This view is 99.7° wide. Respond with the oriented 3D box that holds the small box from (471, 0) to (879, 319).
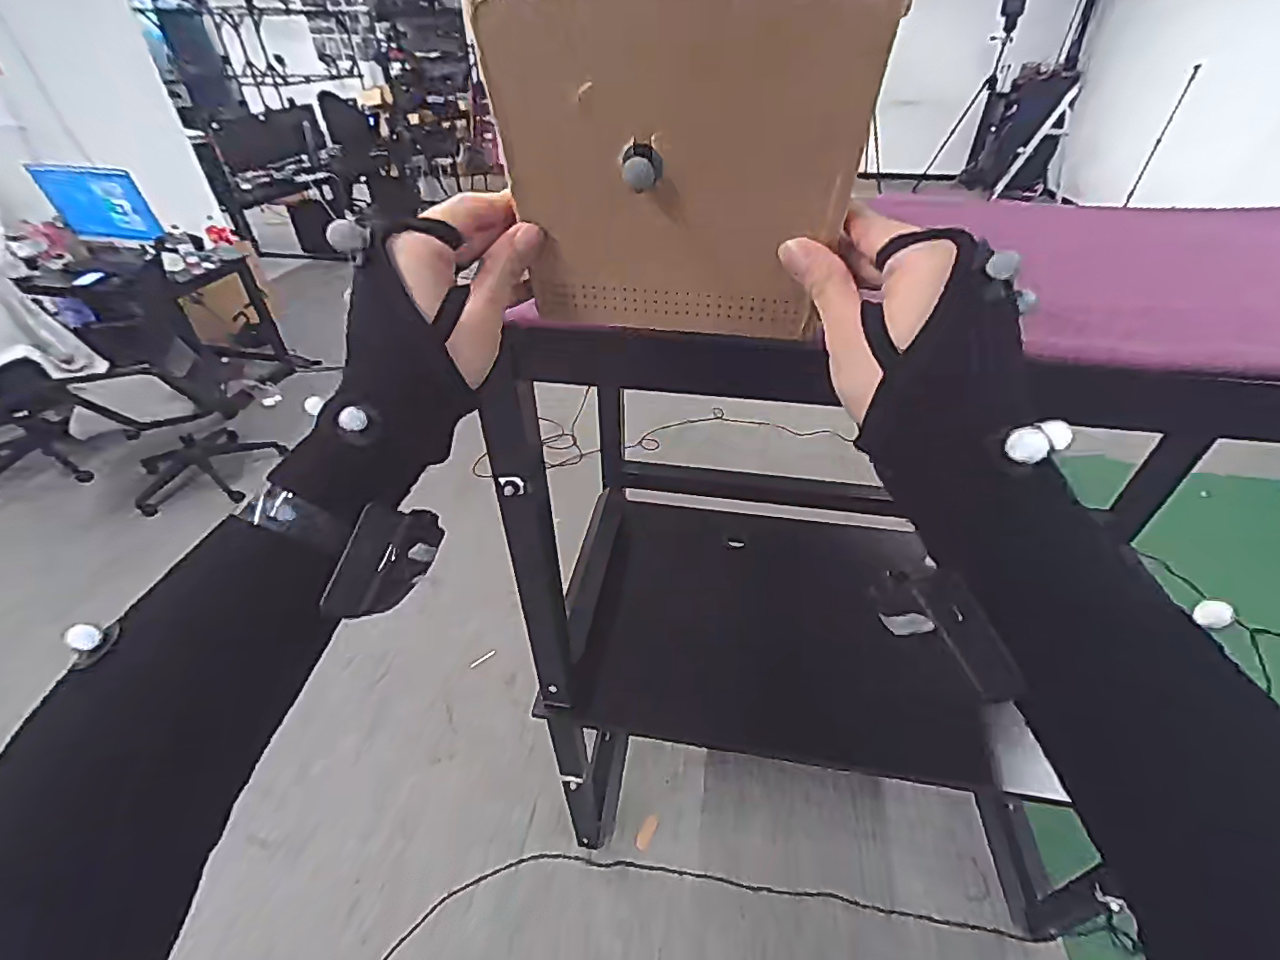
[{"bbox_3d":[0.029,-0.214,0.321,0.179,0.176,0.168,5,55,9],"label":"small box"}]
